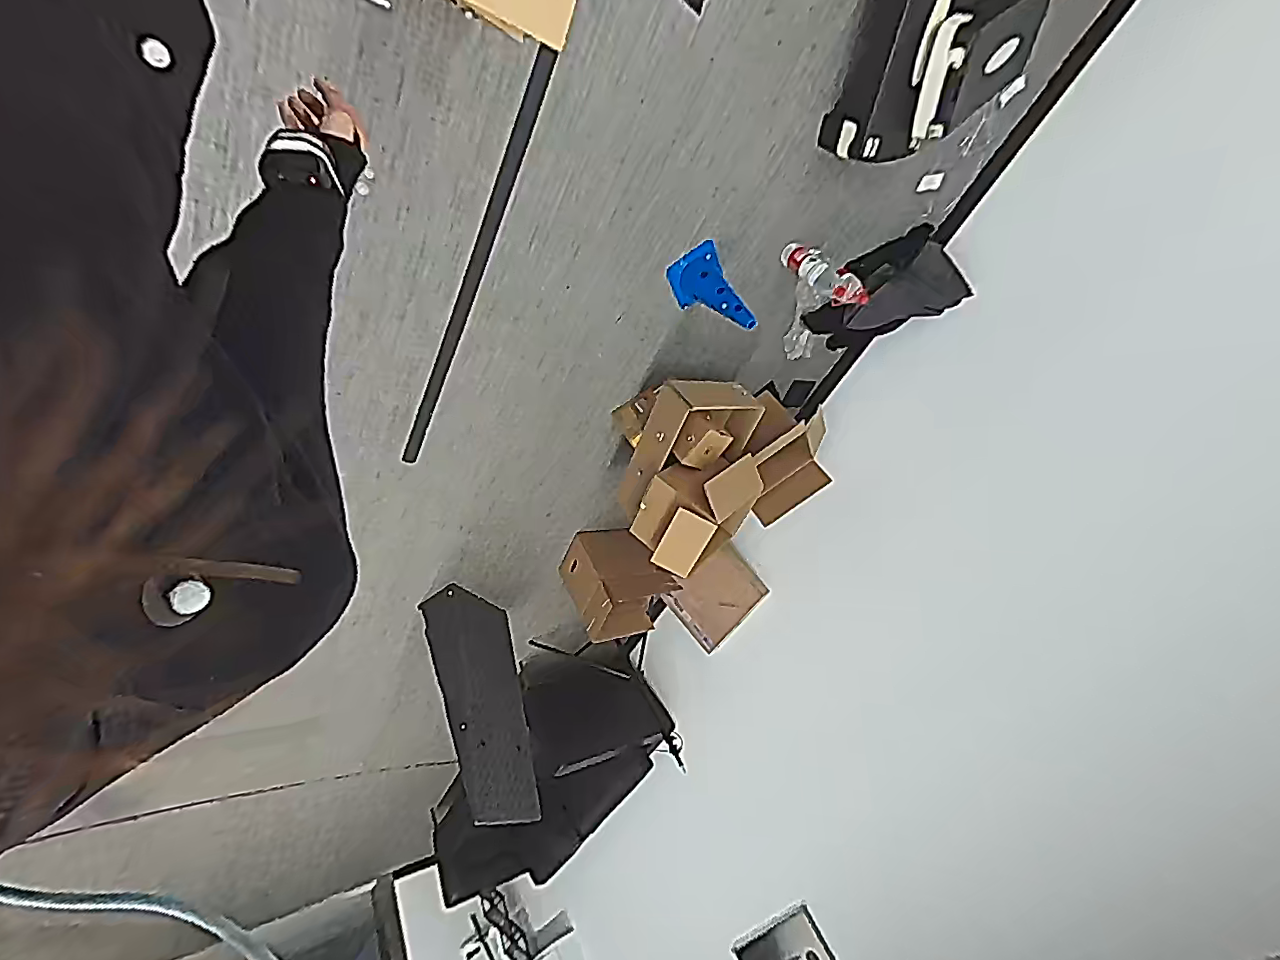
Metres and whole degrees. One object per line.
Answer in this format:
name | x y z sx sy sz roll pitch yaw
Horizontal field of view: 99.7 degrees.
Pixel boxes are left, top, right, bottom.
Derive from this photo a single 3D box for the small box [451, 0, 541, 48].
small box | -0.277 -0.924 0.959 0.179 0.176 0.168 7 128 -41
